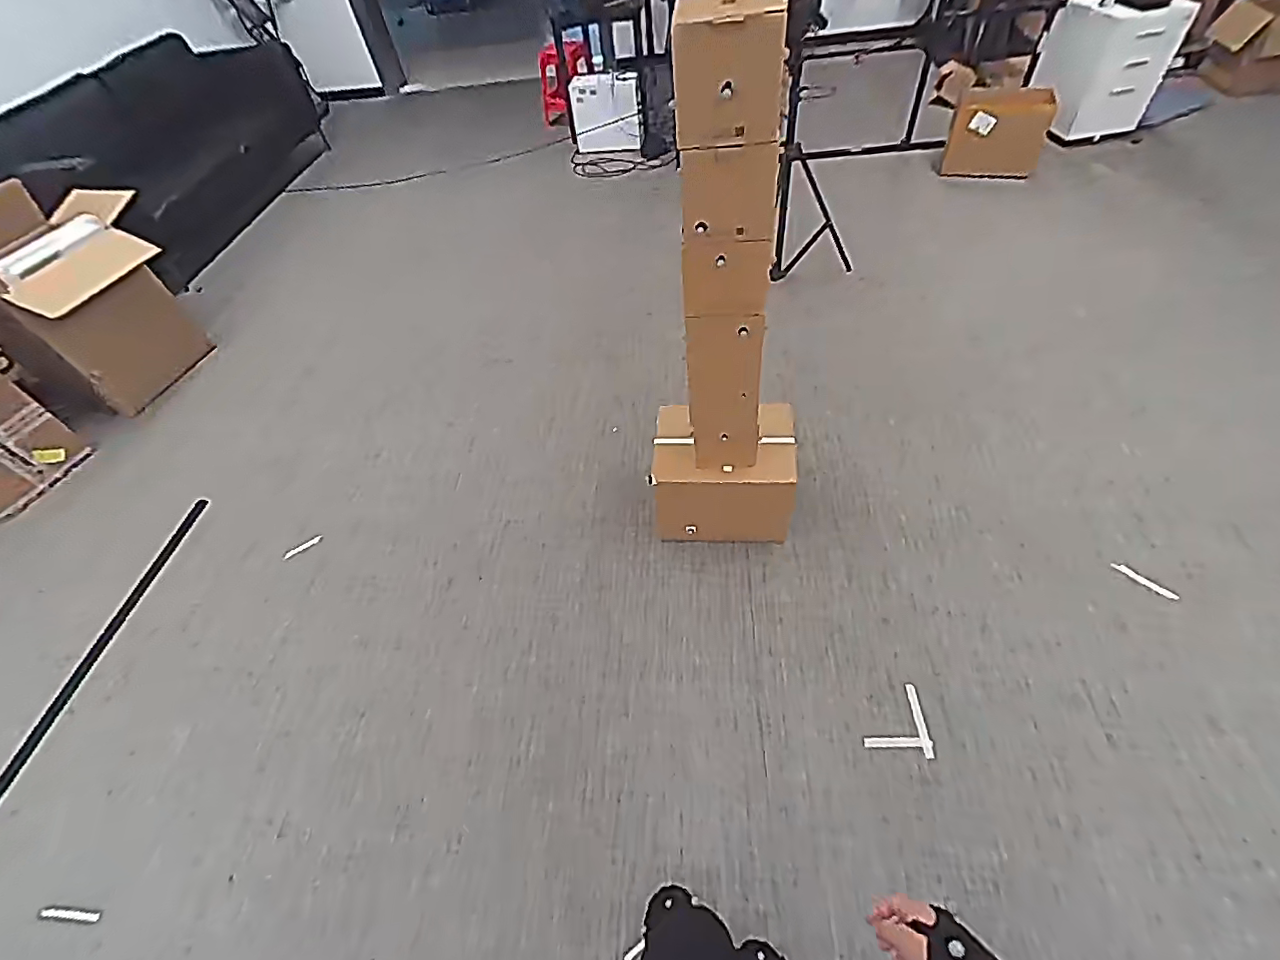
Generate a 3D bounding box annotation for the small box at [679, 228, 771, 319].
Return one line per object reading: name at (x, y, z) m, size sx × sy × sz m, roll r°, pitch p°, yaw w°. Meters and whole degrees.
small box at (0.179, -0.454, 1.139) m, size 0.179 × 0.176 × 0.168 m, roll 1°, pitch 52°, yaw 10°

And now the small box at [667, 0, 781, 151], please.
small box at (0.139, -0.659, 0.885) m, size 0.168 × 0.176 × 0.179 m, roll 0°, pitch 53°, yaw 9°

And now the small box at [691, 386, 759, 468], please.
small box at (0.234, -0.144, 1.514) m, size 0.179 × 0.176 × 0.168 m, roll -1°, pitch 52°, yaw 6°

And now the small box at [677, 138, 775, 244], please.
small box at (0.164, -0.558, 1.012) m, size 0.168 × 0.176 × 0.179 m, roll 1°, pitch 51°, yaw 9°

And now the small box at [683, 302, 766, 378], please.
small box at (0.196, -0.352, 1.263) m, size 0.179 × 0.176 × 0.168 m, roll 1°, pitch 51°, yaw 9°
